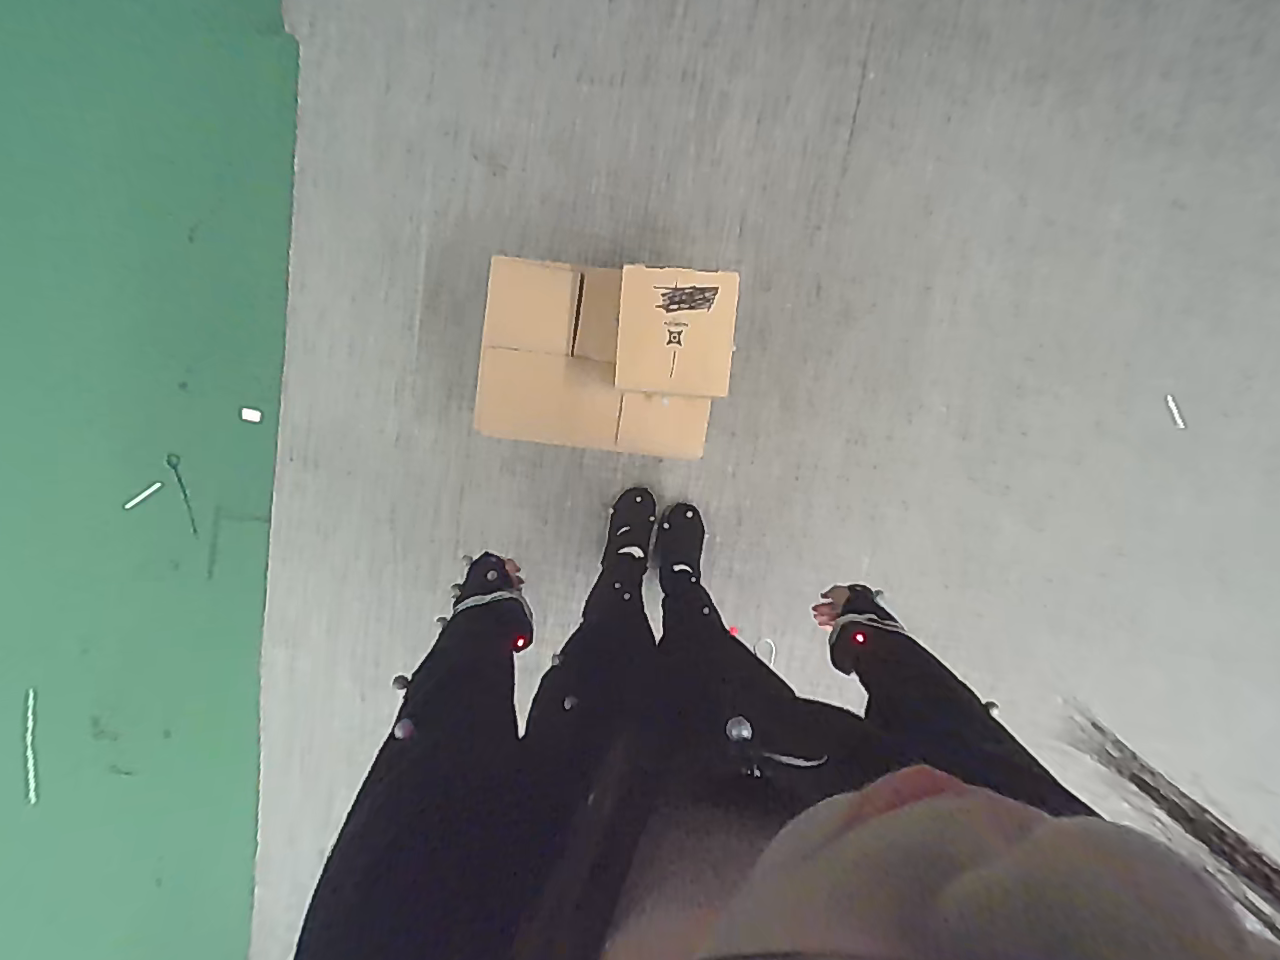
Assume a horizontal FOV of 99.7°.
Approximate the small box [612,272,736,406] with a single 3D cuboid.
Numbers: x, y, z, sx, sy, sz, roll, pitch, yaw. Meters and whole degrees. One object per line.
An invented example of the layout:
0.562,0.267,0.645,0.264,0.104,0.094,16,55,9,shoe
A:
0.049,-0.213,0.856,0.168,0.176,0.179,5,99,2,small box
